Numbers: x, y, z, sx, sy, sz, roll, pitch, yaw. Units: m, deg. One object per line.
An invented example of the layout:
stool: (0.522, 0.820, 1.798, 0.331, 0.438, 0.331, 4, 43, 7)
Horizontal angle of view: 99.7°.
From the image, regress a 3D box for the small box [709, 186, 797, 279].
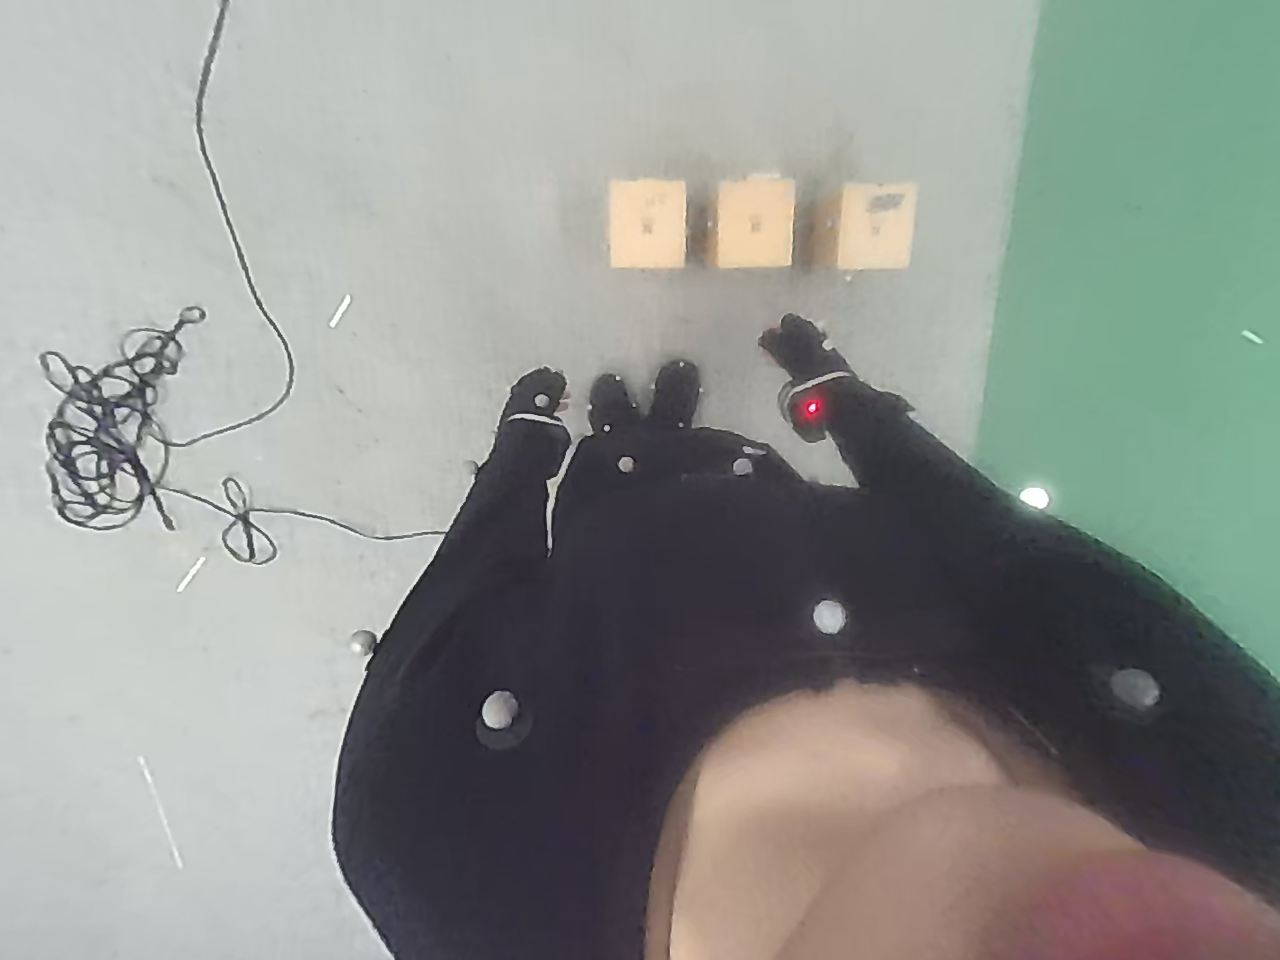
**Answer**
small box: (0.253, -0.561, 1.246, 0.168, 0.176, 0.179, -2, 105, -1)

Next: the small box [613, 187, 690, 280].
small box: (0.022, -0.556, 1.239, 0.168, 0.176, 0.179, -1, 105, -2)

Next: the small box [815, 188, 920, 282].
small box: (0.517, -0.560, 1.253, 0.168, 0.176, 0.179, -2, 106, -1)
